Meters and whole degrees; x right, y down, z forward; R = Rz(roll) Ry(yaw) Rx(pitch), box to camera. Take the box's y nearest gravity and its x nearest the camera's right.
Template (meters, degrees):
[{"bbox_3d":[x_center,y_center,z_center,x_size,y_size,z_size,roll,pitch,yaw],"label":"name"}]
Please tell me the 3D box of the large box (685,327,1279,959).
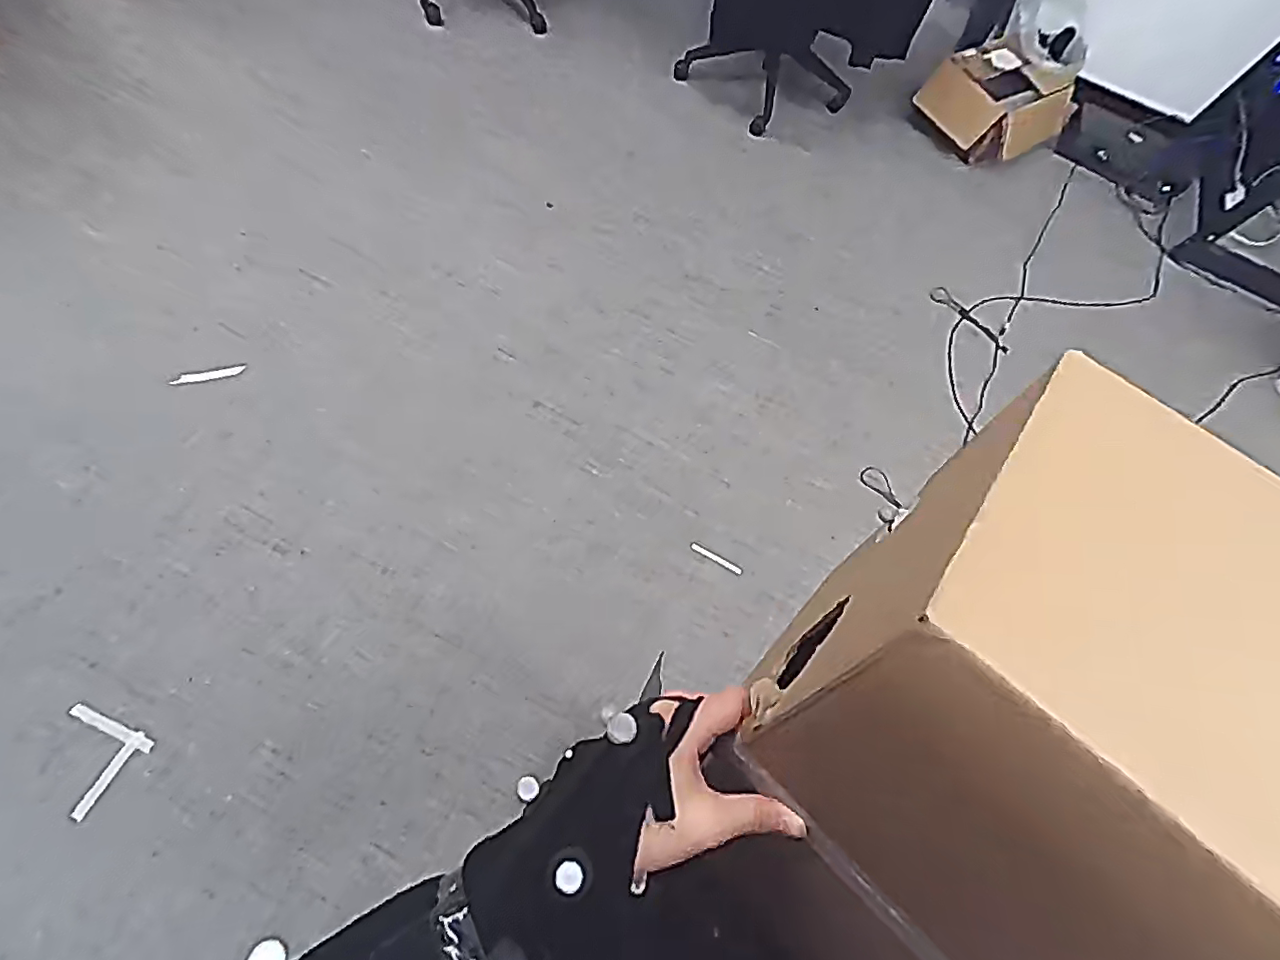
[{"bbox_3d":[0.306,0.174,0.320,0.408,0.320,0.320,41,50,17],"label":"large box"}]
